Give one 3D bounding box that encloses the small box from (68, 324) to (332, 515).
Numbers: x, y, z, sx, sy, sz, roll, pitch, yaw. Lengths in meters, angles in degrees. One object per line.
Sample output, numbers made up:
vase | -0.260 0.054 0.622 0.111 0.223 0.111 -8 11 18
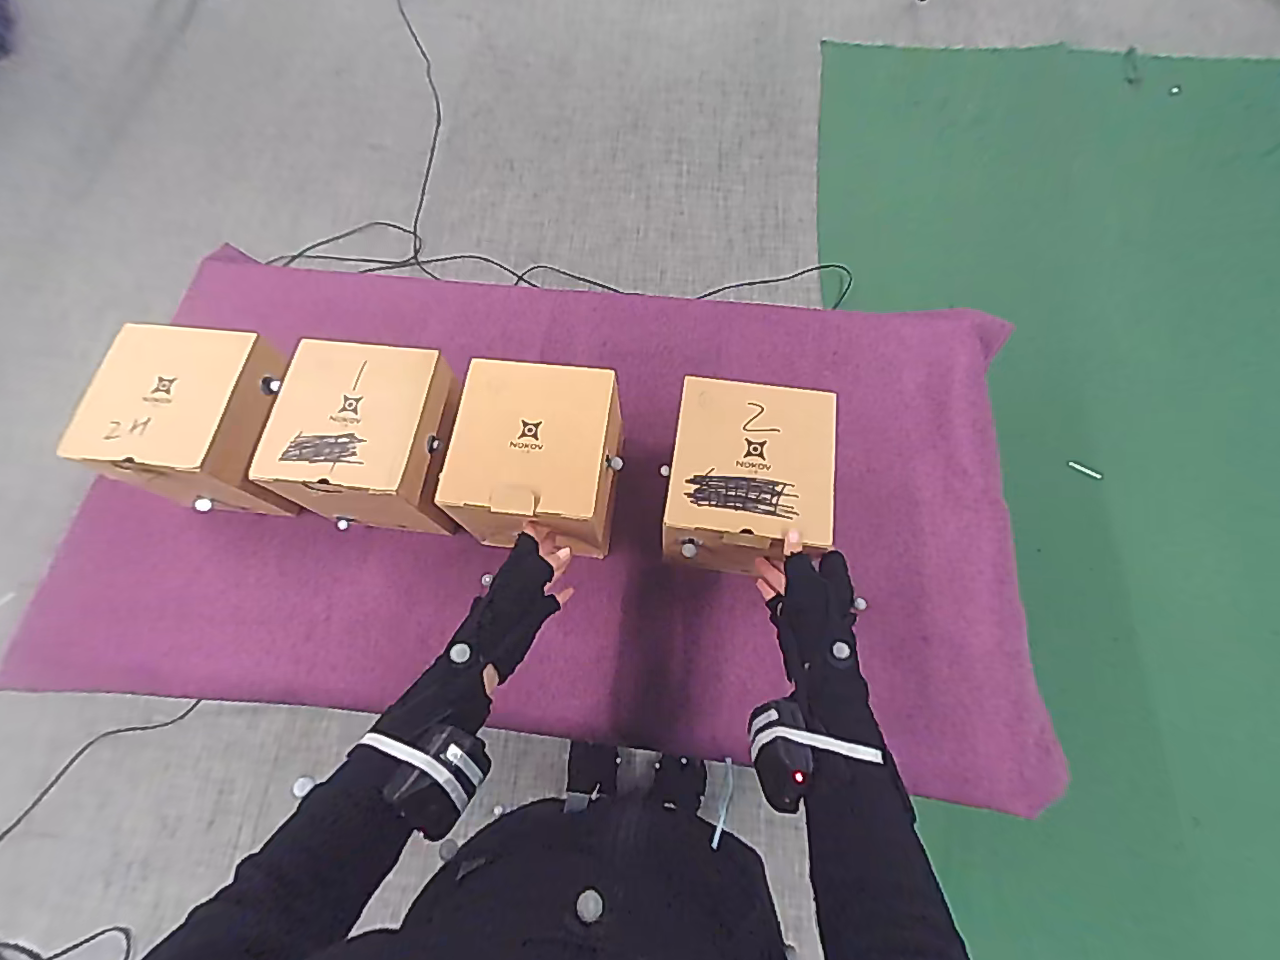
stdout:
small box | -0.527 -0.070 0.684 0.168 0.176 0.179 6 70 4
